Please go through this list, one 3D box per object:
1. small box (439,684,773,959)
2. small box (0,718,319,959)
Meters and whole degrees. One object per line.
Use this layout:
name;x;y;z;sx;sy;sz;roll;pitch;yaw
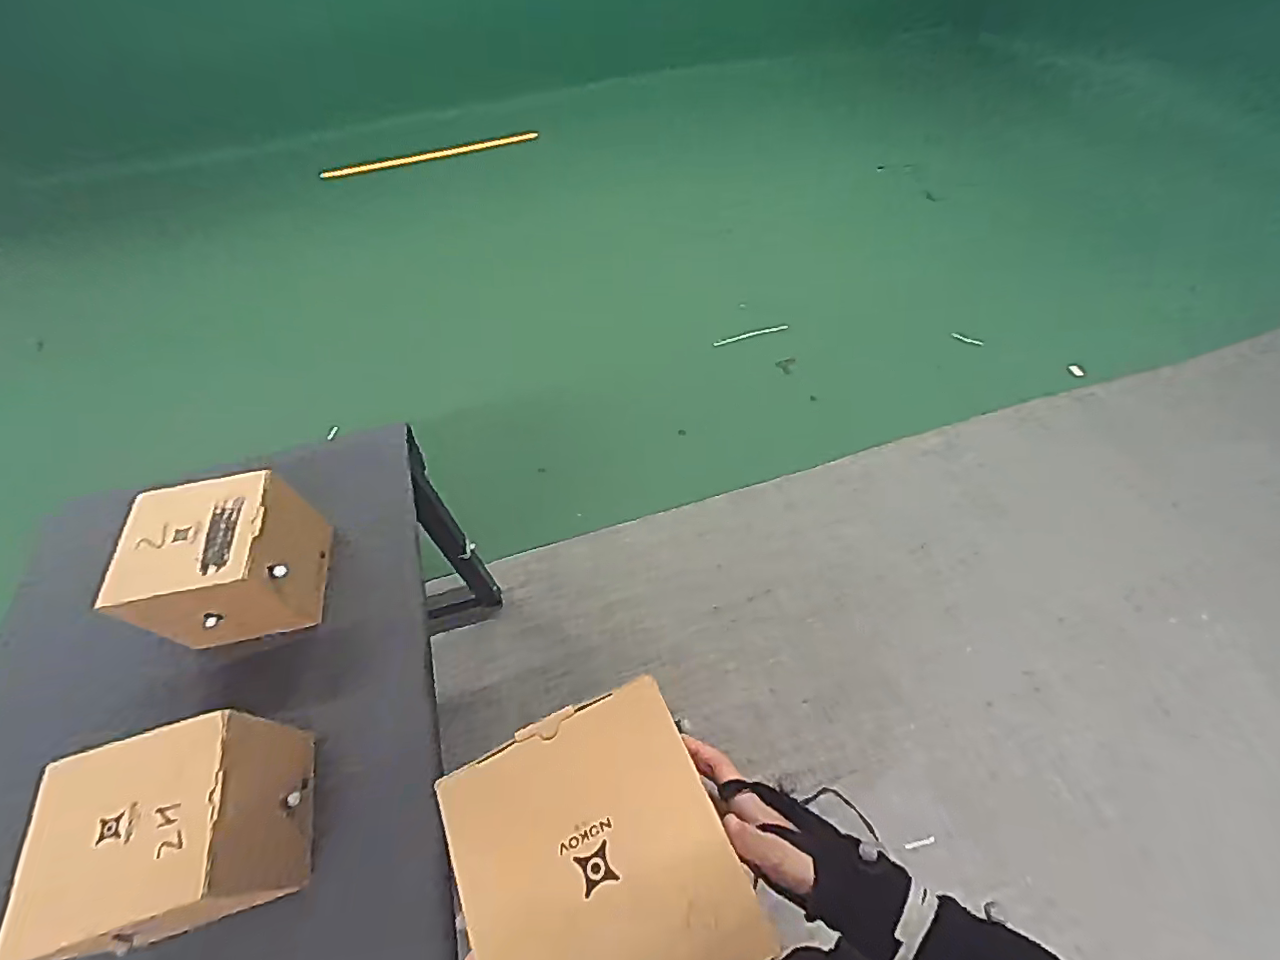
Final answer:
small box;-0.023;0.286;0.404;0.168;0.176;0.179;-23;56;-11
small box;-0.479;0.378;0.574;0.179;0.176;0.168;-16;57;-7
